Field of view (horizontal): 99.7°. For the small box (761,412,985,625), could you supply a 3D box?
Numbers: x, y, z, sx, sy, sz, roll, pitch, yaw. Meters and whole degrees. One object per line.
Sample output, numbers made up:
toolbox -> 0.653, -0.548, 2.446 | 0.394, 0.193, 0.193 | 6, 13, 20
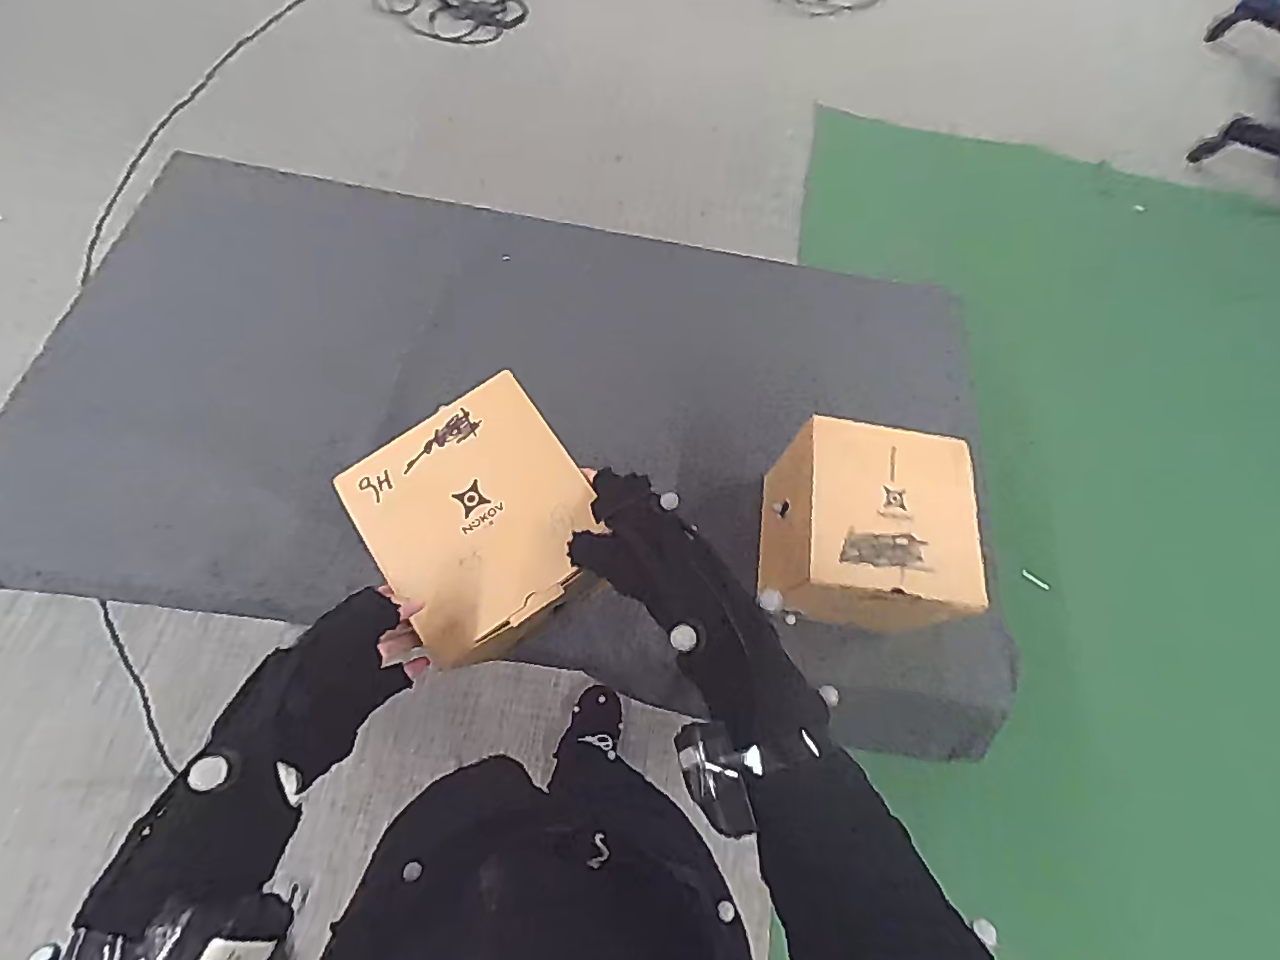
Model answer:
small box -> 0.238, 0.053, 0.591 | 0.168, 0.176, 0.179 | 10, 67, -2

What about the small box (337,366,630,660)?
small box -> -0.121, 0.036, 0.494 | 0.168, 0.176, 0.179 | -36, 78, -7
